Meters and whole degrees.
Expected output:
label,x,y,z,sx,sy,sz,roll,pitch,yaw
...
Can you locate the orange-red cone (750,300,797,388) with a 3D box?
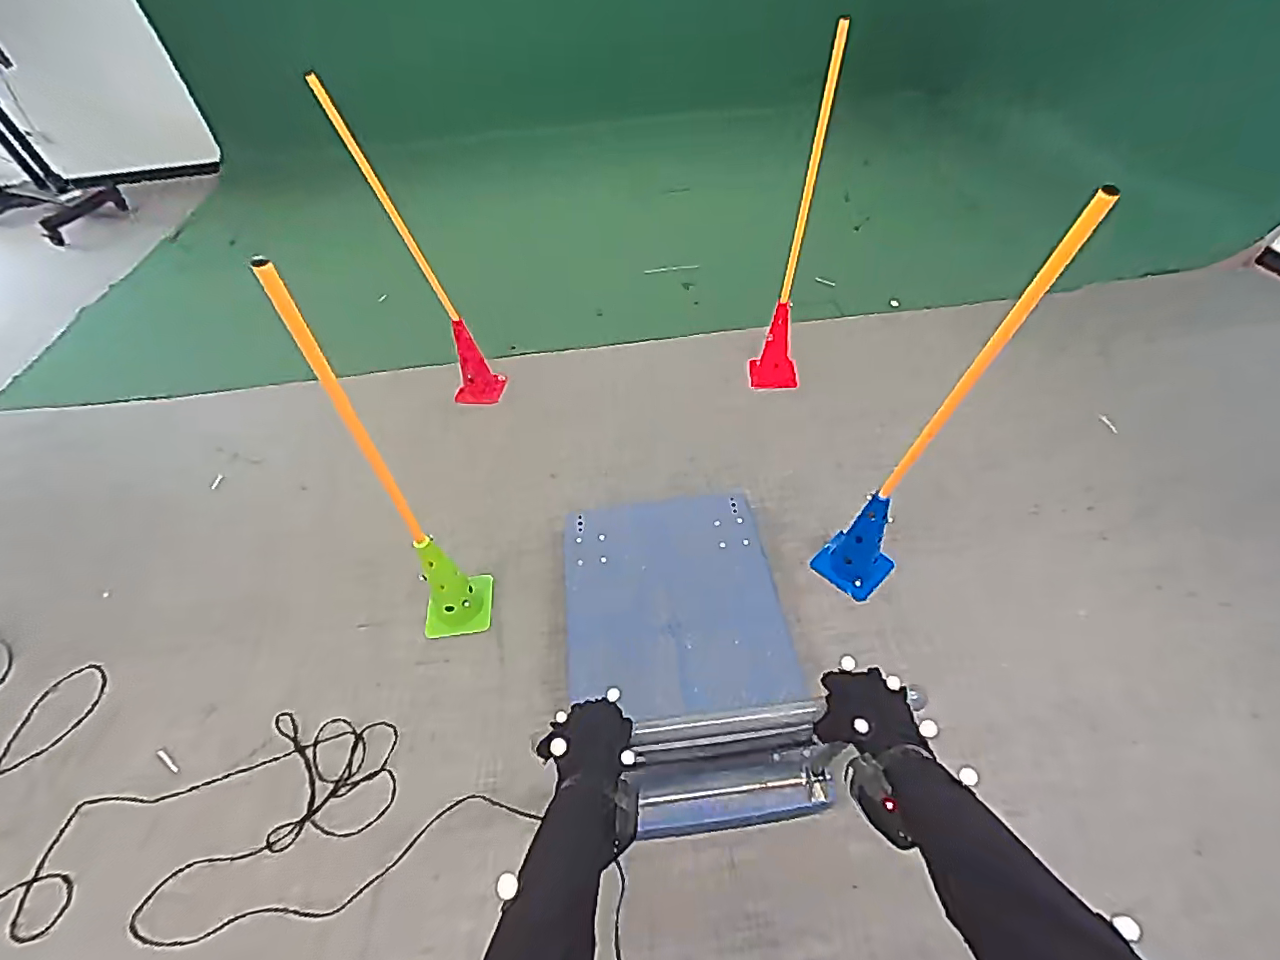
label,x,y,z,sx,sy,sz,roll,pitch,yaw
orange-red cone,0.569,-0.576,2.240,0.198,0.360,0.199,1,50,6
